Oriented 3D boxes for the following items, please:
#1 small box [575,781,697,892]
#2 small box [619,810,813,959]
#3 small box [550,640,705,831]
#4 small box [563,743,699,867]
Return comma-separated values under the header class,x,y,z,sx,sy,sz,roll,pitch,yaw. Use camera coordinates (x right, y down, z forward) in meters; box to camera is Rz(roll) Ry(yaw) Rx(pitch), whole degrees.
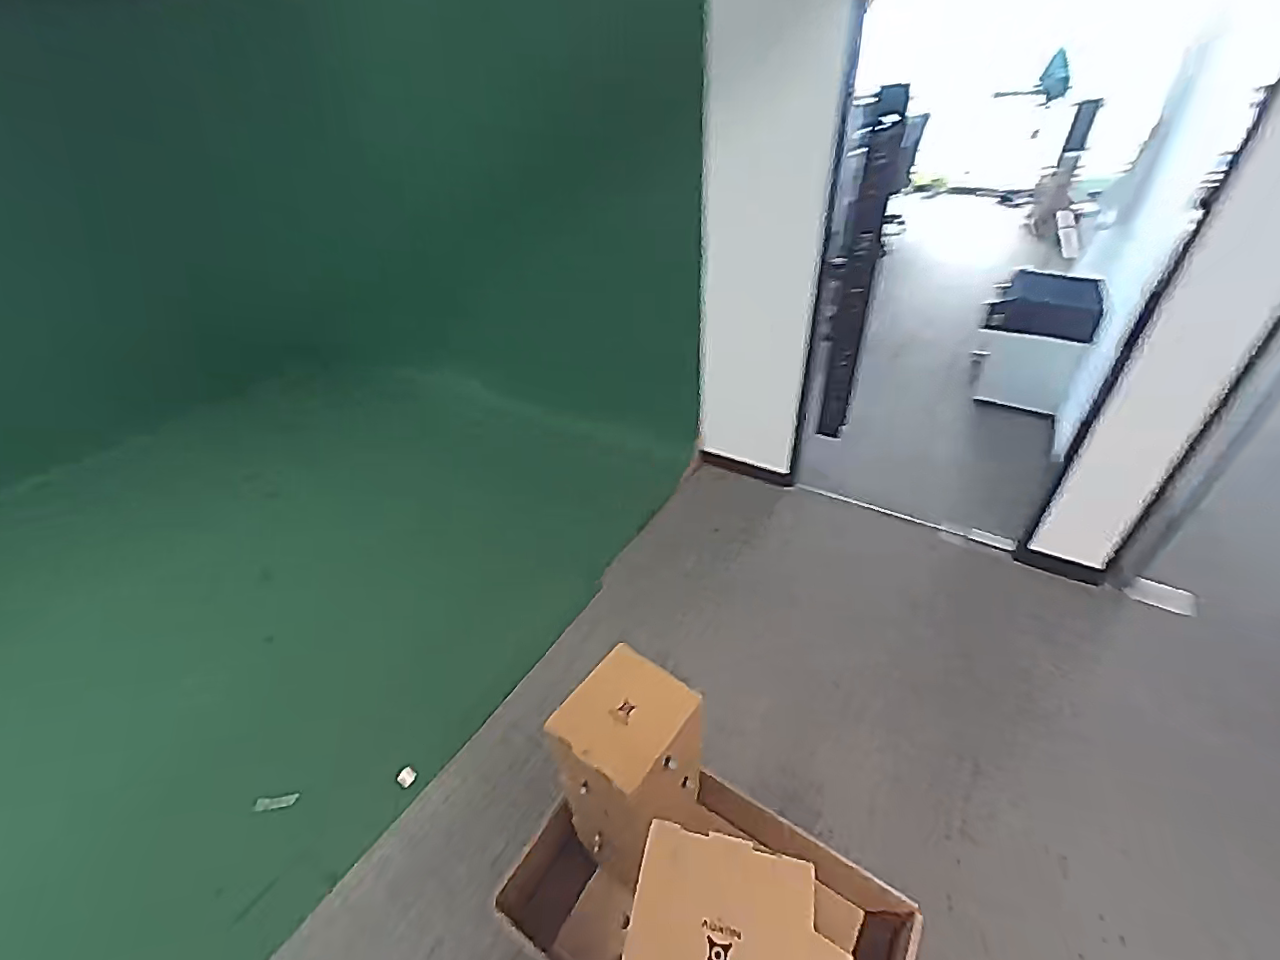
class,x,y,z,sx,sy,sz,roll,pitch,yaw
small box,-0.003,0.651,1.050,0.168,0.176,0.179,20,44,30
small box,0.068,0.470,0.536,0.168,0.176,0.179,10,43,11
small box,-0.016,0.397,0.848,0.168,0.176,0.179,25,47,31
small box,-0.012,0.524,0.950,0.168,0.176,0.179,23,46,31
